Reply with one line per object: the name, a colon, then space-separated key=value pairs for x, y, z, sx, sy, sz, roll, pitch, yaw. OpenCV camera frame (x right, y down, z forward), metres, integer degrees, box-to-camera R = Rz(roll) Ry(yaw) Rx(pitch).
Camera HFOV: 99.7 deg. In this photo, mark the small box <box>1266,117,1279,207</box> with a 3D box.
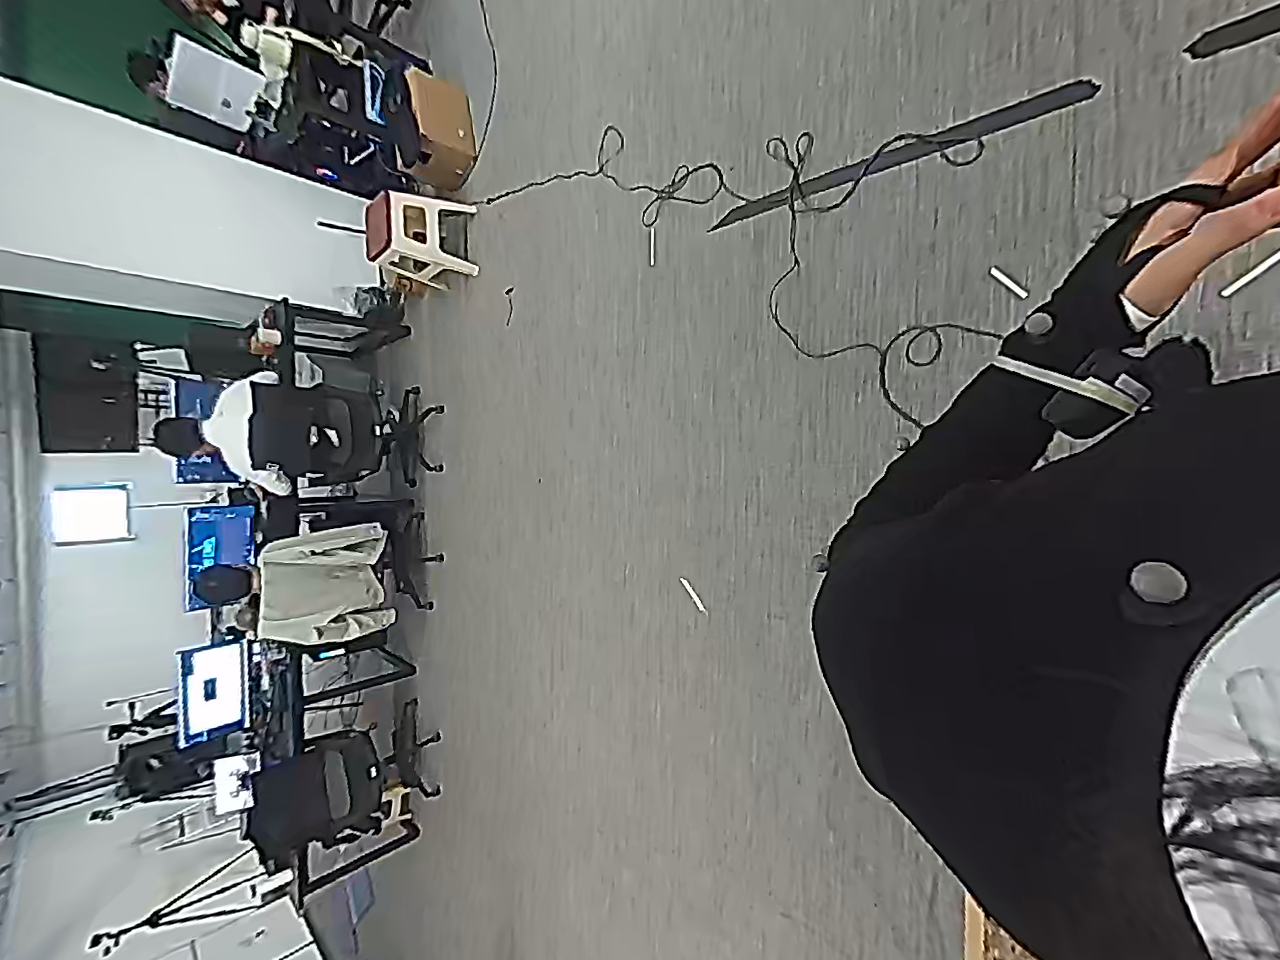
small box: x=0.459 y=-0.248 z=0.272 sx=0.168 sy=0.176 sz=0.179 roll=14 pitch=113 yaw=45
